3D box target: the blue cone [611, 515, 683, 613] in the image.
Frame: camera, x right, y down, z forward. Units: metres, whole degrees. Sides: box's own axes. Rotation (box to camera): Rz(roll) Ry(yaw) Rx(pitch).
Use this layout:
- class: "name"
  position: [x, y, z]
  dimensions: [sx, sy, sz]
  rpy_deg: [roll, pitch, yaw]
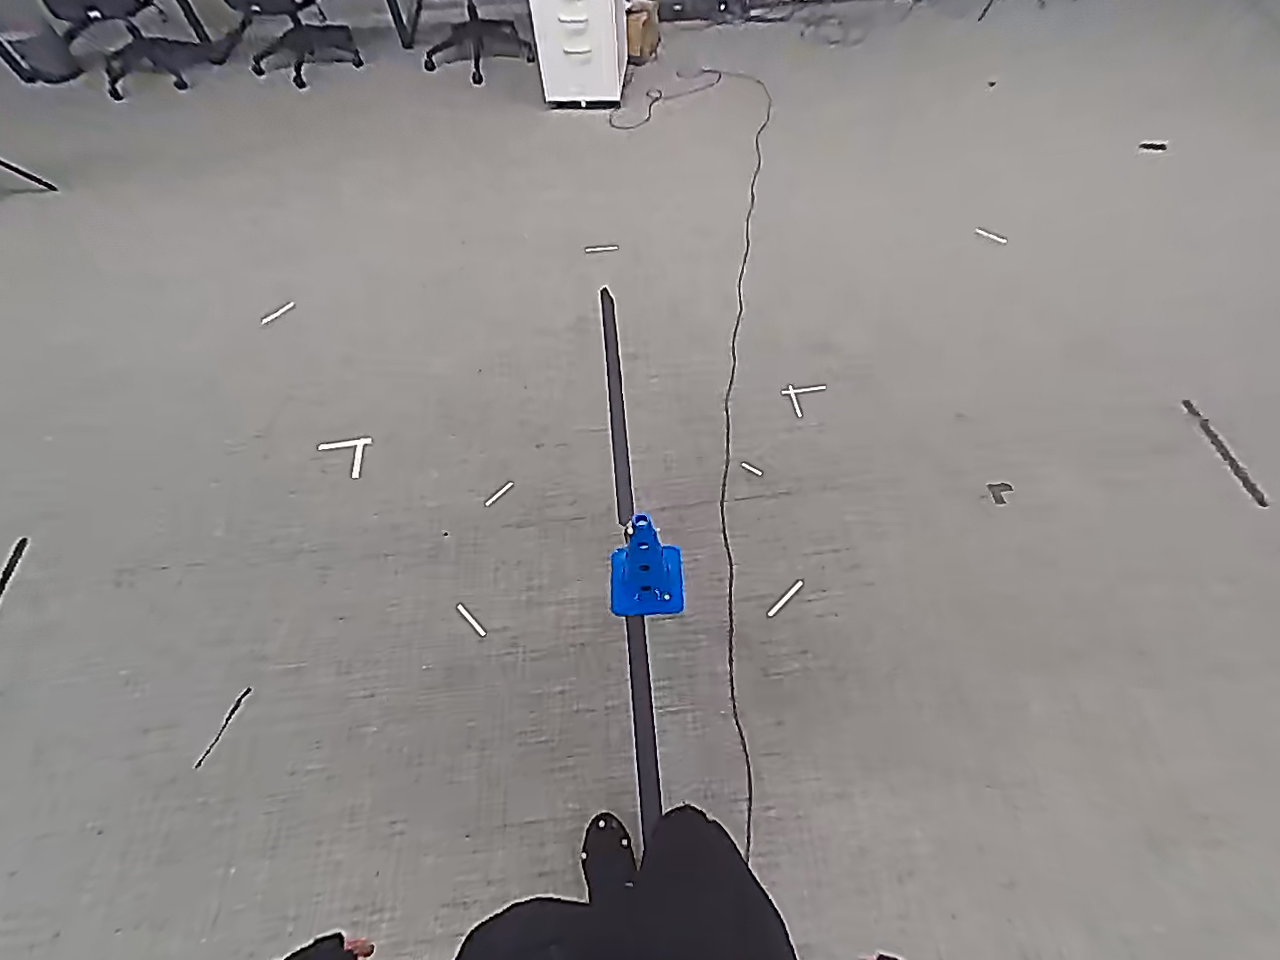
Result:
- class: "blue cone"
  position: [0.013, 0.182, 1.351]
  dimensions: [0.193, 0.380, 0.192]
  rpy_deg: [-3, 58, 0]
